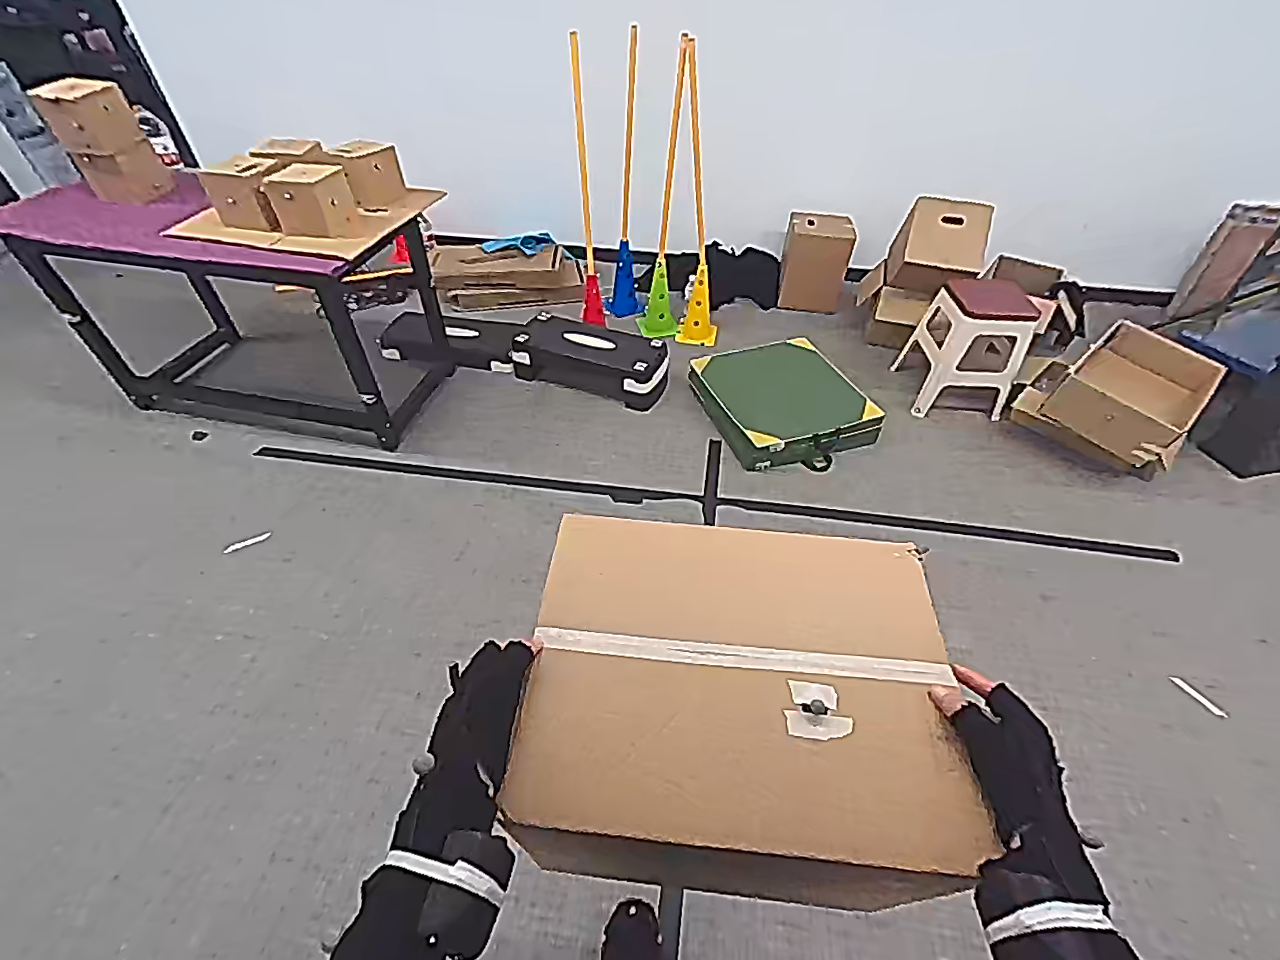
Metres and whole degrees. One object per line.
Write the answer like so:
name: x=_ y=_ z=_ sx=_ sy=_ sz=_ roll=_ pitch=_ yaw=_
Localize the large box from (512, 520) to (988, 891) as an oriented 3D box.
large box: x=0.096 y=0.273 z=0.654 sx=0.408 sy=0.320 sz=0.320 roll=5 pitch=49 yaw=3
